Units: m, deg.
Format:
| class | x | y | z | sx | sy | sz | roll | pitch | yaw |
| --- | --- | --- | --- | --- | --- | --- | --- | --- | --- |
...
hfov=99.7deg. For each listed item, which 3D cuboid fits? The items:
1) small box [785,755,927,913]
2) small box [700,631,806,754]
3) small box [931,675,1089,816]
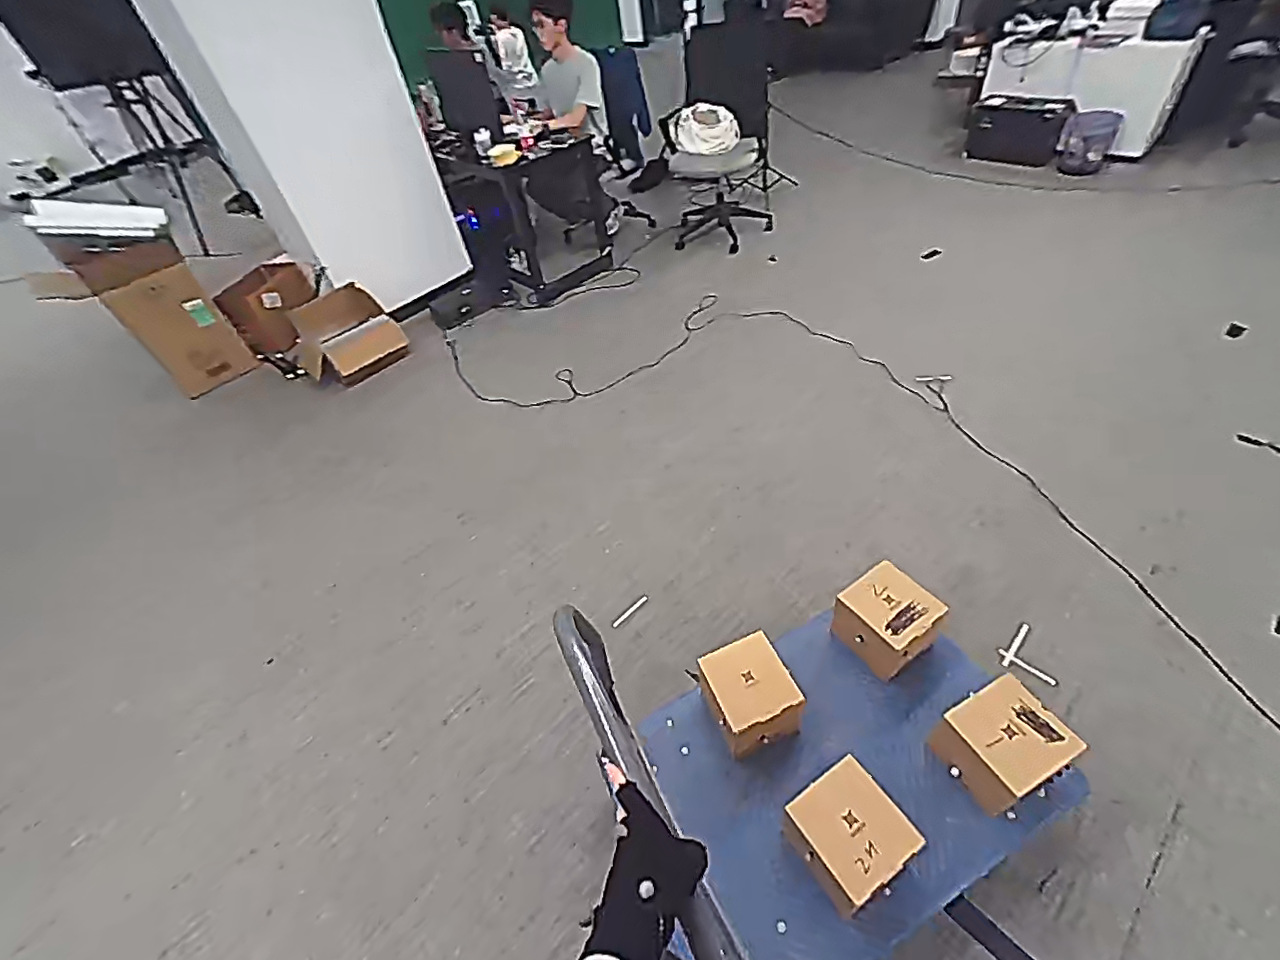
| class | x | y | z | sx | sy | sz | roll | pitch | yaw |
| --- | --- | --- | --- | --- | --- | --- | --- | --- | --- |
| small box | 0.387 | 0.660 | 1.008 | 0.168 | 0.176 | 0.179 | -29 | 48 | -15 |
| small box | 0.246 | 0.477 | 1.211 | 0.168 | 0.176 | 0.179 | -21 | 48 | -9 |
| small box | 0.714 | 0.526 | 1.069 | 0.179 | 0.176 | 0.168 | -25 | 47 | -11 |
